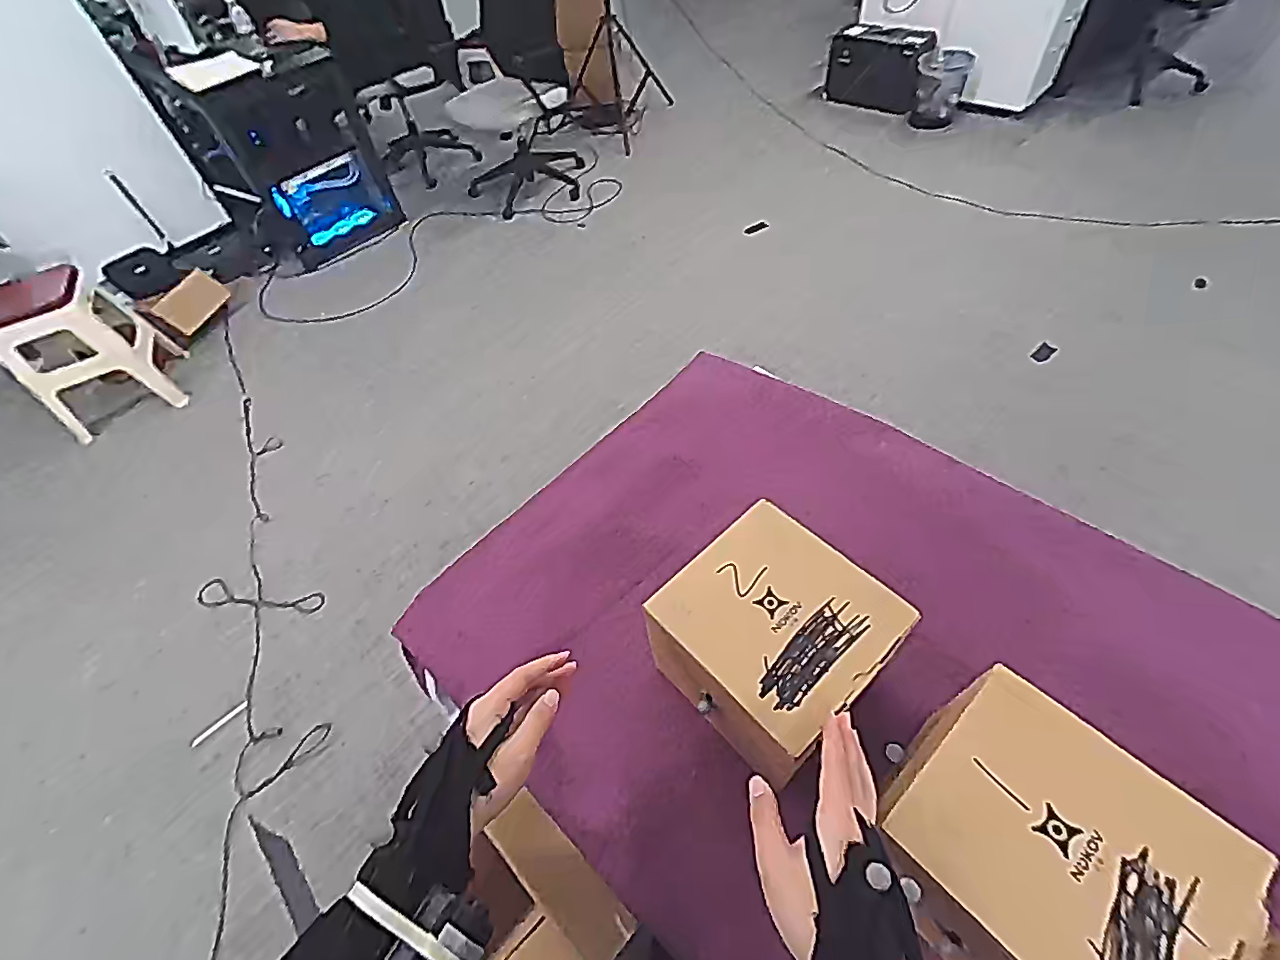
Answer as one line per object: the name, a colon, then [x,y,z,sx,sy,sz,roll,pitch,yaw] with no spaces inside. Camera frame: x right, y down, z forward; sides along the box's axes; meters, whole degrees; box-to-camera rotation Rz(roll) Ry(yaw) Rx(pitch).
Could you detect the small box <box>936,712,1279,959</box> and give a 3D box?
small box: [0.332,0.302,0.381,0.179,0.176,0.168,16,96,24]
